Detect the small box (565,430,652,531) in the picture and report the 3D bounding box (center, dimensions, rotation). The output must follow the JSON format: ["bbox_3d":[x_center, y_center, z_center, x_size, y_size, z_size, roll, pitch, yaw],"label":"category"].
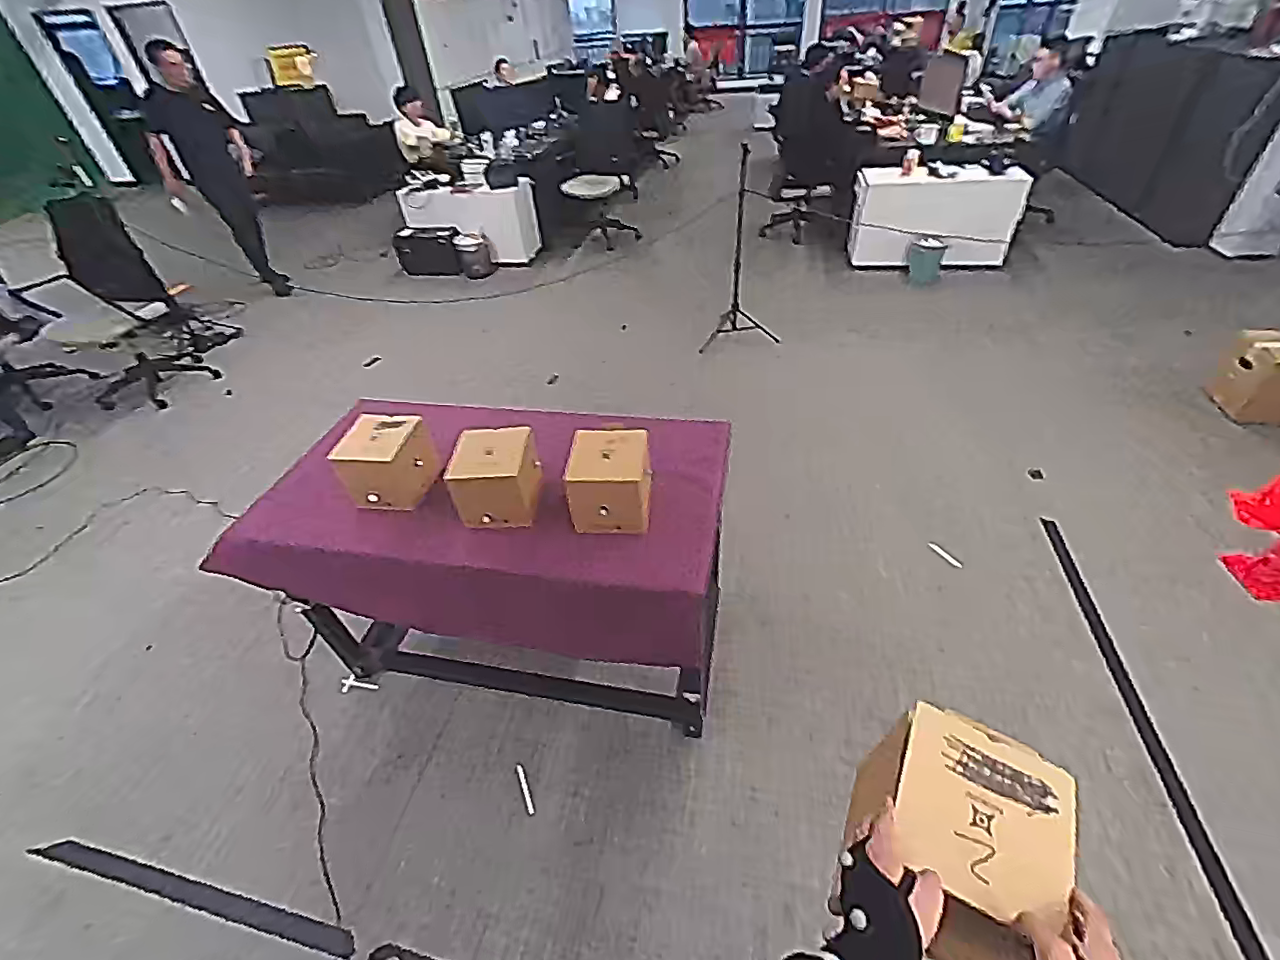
[{"bbox_3d":[-0.064,0.004,1.249,0.168,0.176,0.179,0,42,7],"label":"small box"}]

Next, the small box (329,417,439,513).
[{"bbox_3d":[-0.632,-0.039,1.366,0.168,0.176,0.179,2,43,9],"label":"small box"}]

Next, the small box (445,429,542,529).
[{"bbox_3d":[-0.338,-0.001,1.290,0.168,0.176,0.179,-3,42,4],"label":"small box"}]
